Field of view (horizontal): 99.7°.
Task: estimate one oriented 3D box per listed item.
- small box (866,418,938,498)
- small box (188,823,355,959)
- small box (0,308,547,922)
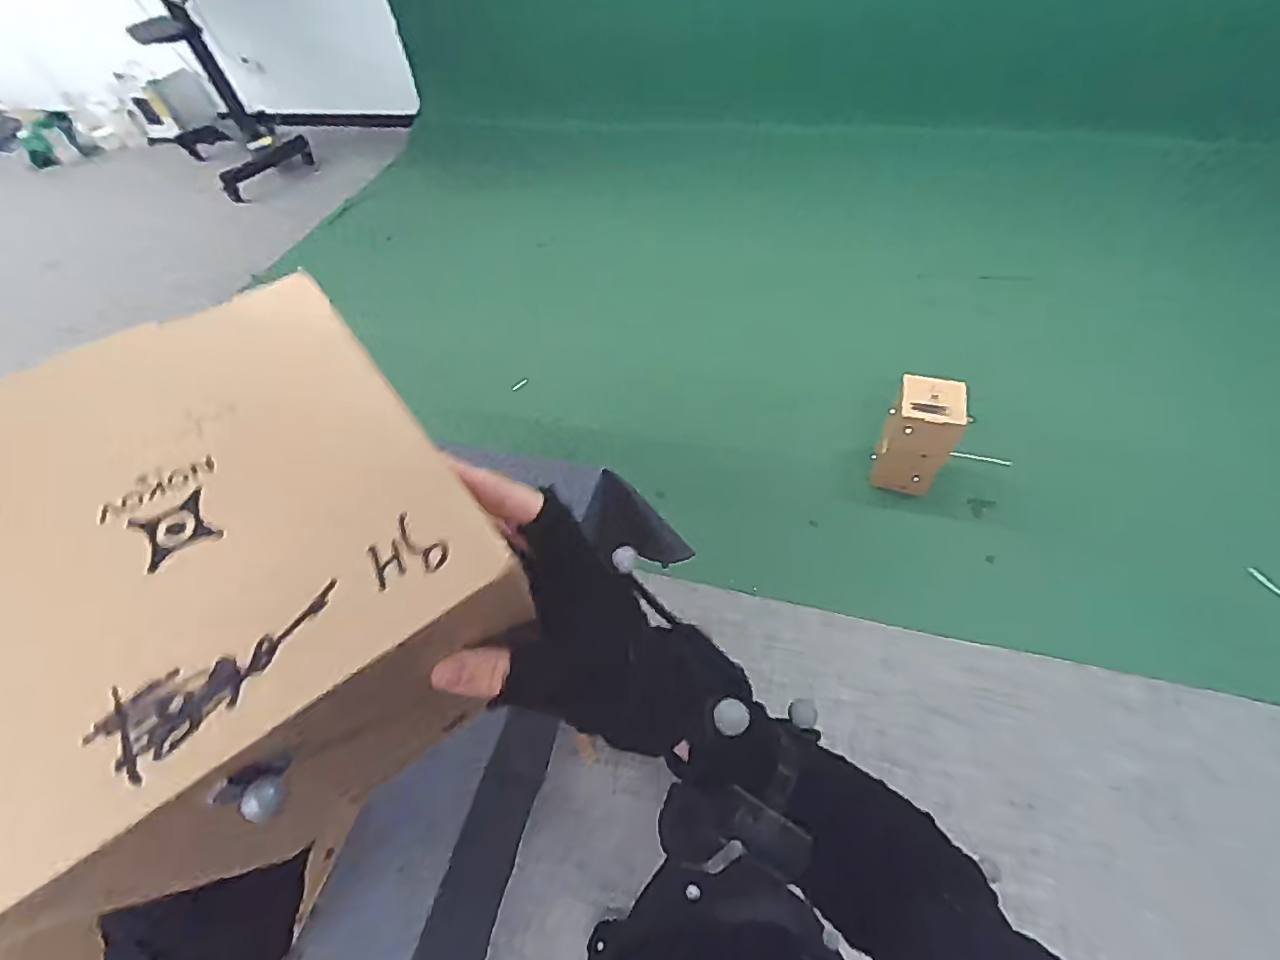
[{"bbox_3d":[0.830,-0.066,1.721,0.168,0.176,0.179,14,55,16],"label":"small box"},{"bbox_3d":[-0.451,0.407,0.582,0.179,0.176,0.168,8,54,14],"label":"small box"},{"bbox_3d":[-0.165,0.058,0.268,0.168,0.176,0.179,-34,68,-19],"label":"small box"}]
